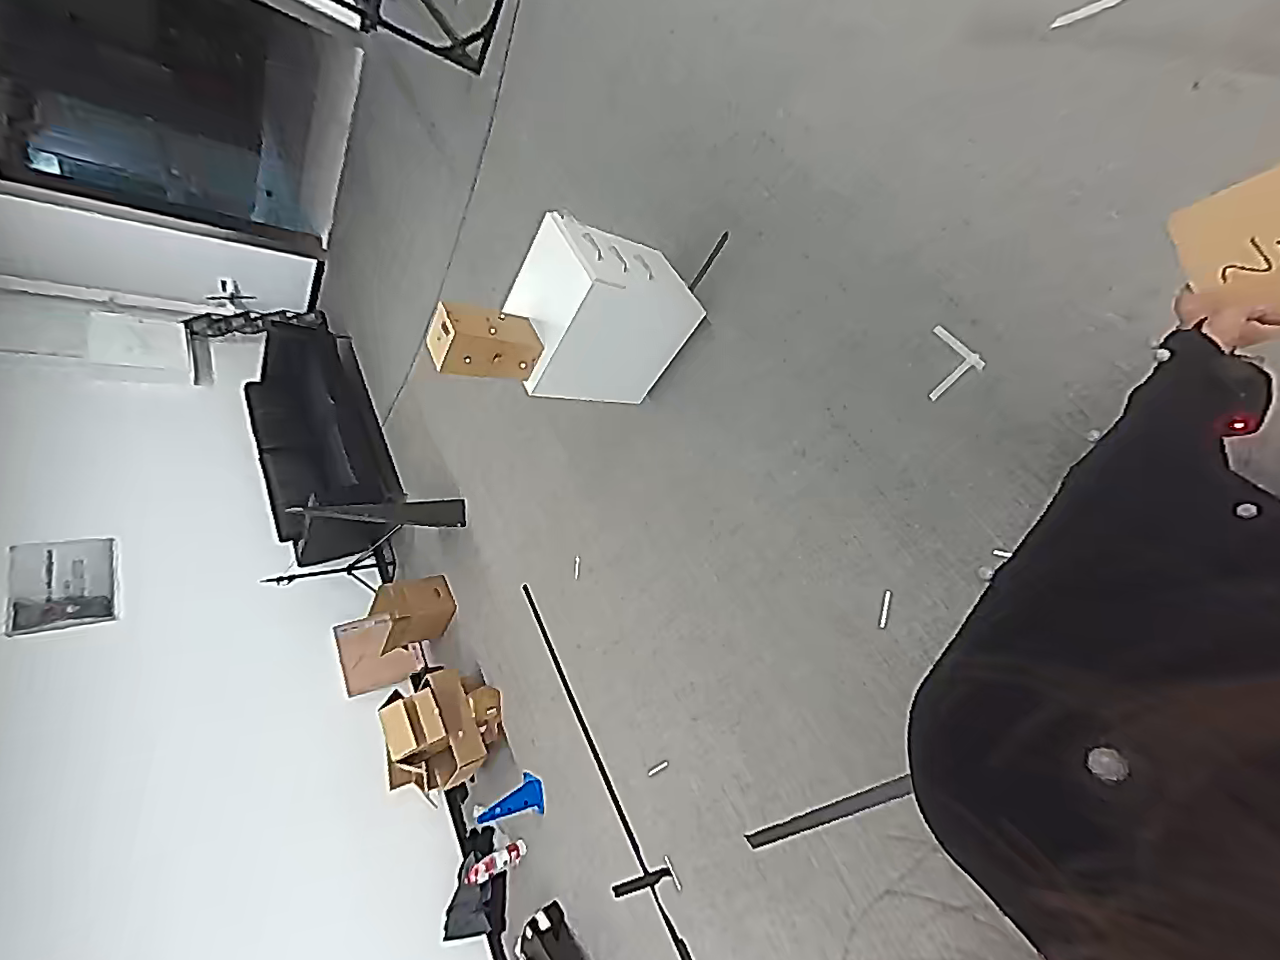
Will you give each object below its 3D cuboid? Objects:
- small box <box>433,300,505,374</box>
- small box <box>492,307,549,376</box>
[{"bbox_3d":[-0.578,-0.481,1.841,0.179,0.176,0.168,-51,56,37],"label":"small box"},{"bbox_3d":[-0.457,-0.494,1.953,0.168,0.176,0.179,-51,56,37],"label":"small box"}]
